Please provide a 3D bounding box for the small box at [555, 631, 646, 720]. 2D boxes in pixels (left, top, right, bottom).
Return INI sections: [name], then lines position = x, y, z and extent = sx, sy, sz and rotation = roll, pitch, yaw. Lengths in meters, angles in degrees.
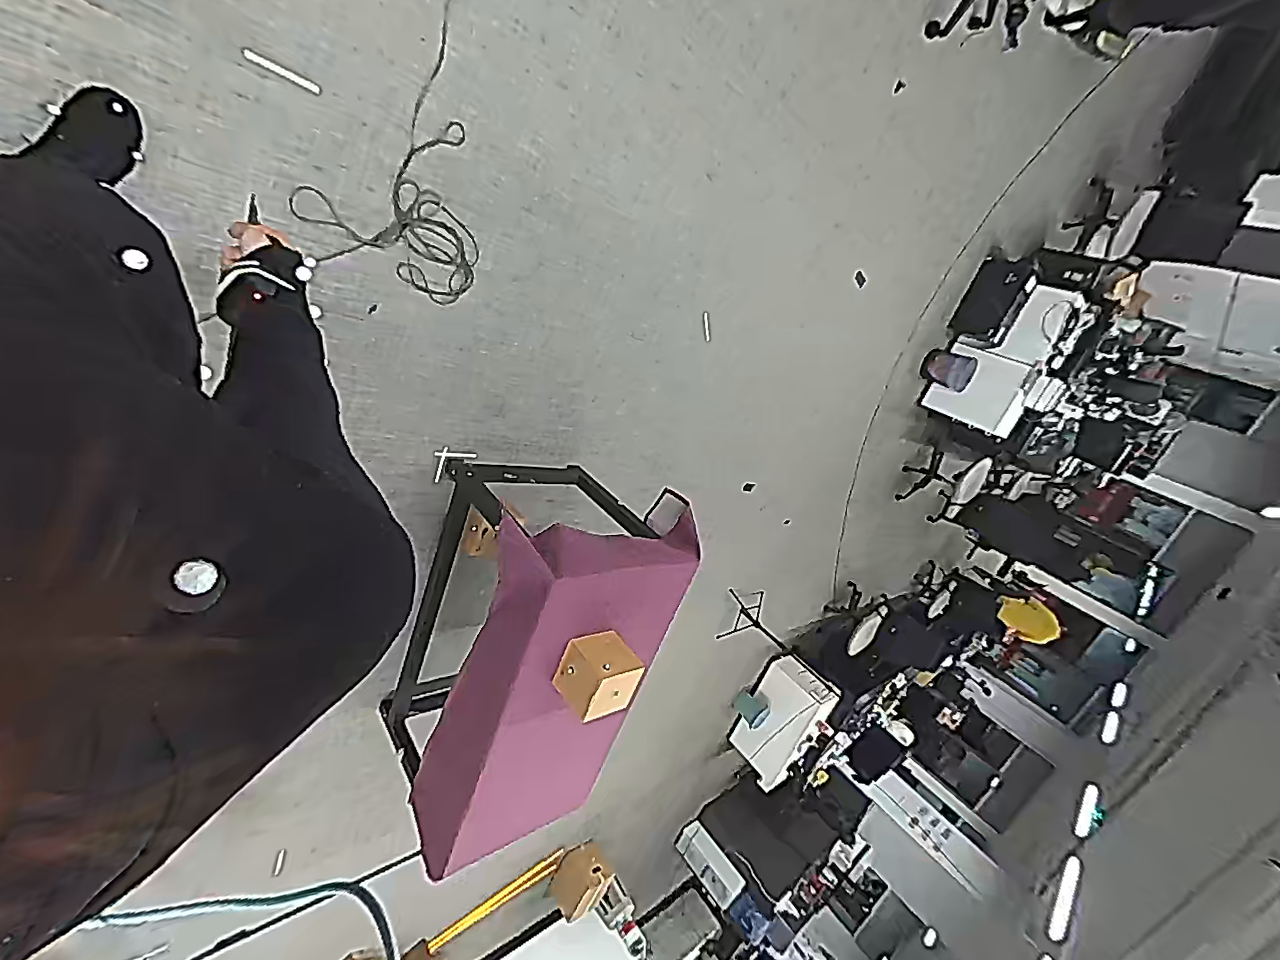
[small box]
position = -0.121, 0.571, 1.606
extent = 0.179, 0.176, 0.168
rotation = 3, 117, -45
